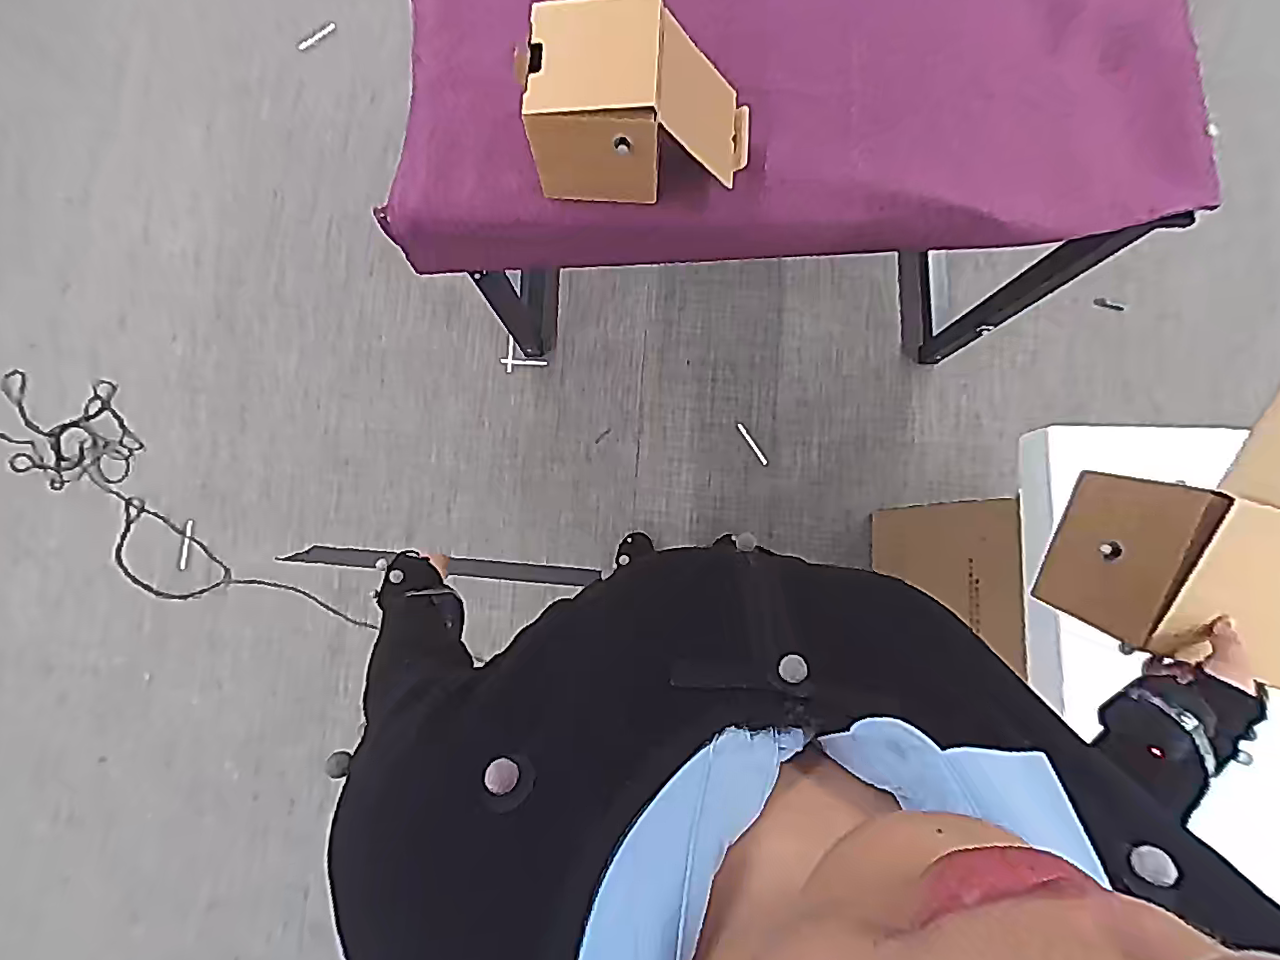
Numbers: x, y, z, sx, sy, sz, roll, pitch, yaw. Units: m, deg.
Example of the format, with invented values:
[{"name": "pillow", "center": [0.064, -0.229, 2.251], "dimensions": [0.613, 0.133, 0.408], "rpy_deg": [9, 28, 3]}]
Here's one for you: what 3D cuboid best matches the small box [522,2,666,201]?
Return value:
[{"name": "small box", "center": [-0.057, -0.527, 0.774], "dimensions": [0.179, 0.176, 0.168], "rpy_deg": [4, 82, 2]}]
